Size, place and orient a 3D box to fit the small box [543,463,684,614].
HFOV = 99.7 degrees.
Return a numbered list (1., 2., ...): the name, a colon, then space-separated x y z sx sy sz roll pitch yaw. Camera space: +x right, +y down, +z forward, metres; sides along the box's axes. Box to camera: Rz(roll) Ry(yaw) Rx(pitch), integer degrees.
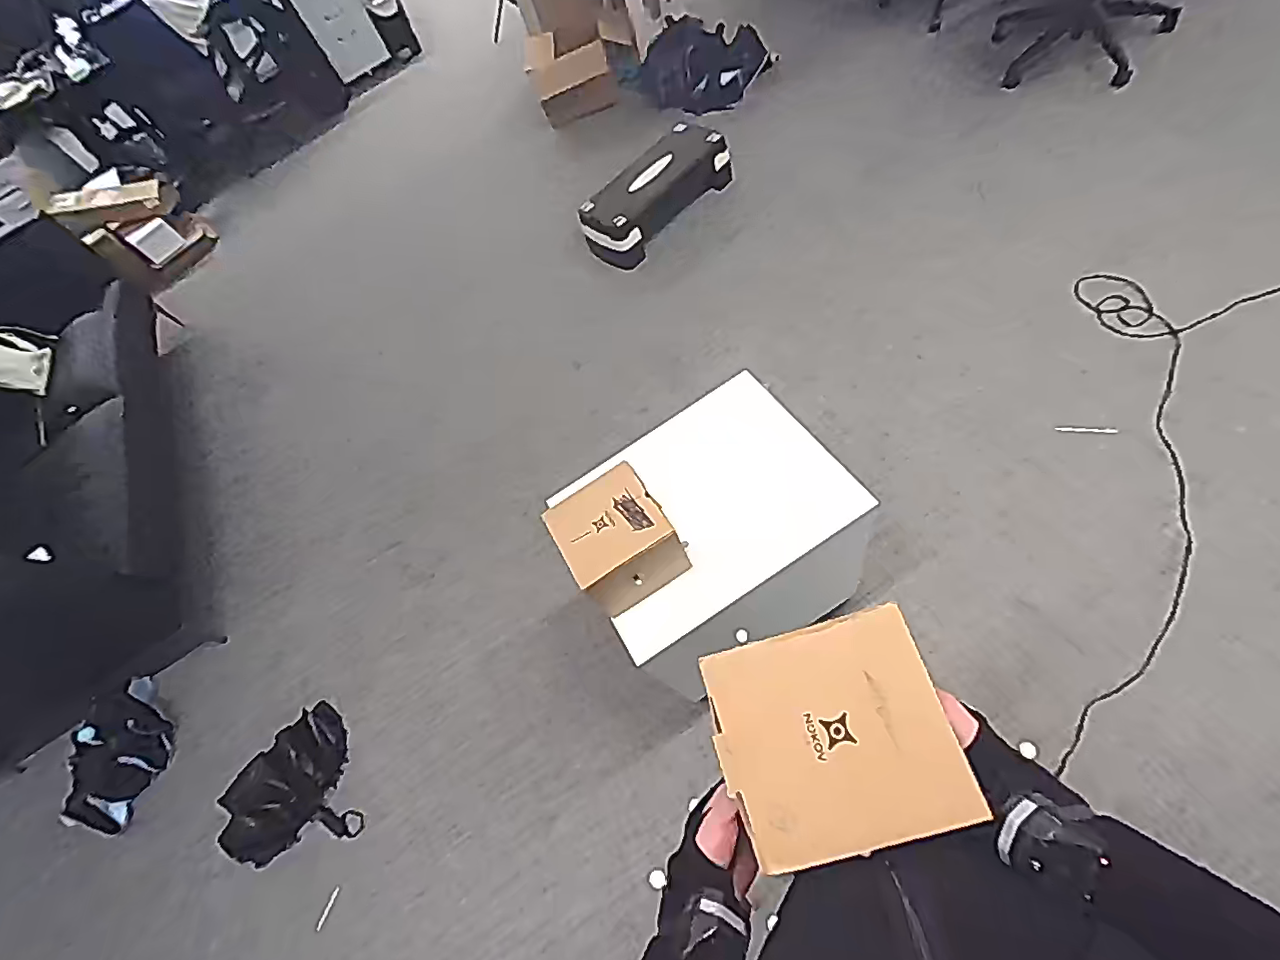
1. small box: -0.037 0.108 0.947 0.179 0.176 0.168 -32 58 -2
